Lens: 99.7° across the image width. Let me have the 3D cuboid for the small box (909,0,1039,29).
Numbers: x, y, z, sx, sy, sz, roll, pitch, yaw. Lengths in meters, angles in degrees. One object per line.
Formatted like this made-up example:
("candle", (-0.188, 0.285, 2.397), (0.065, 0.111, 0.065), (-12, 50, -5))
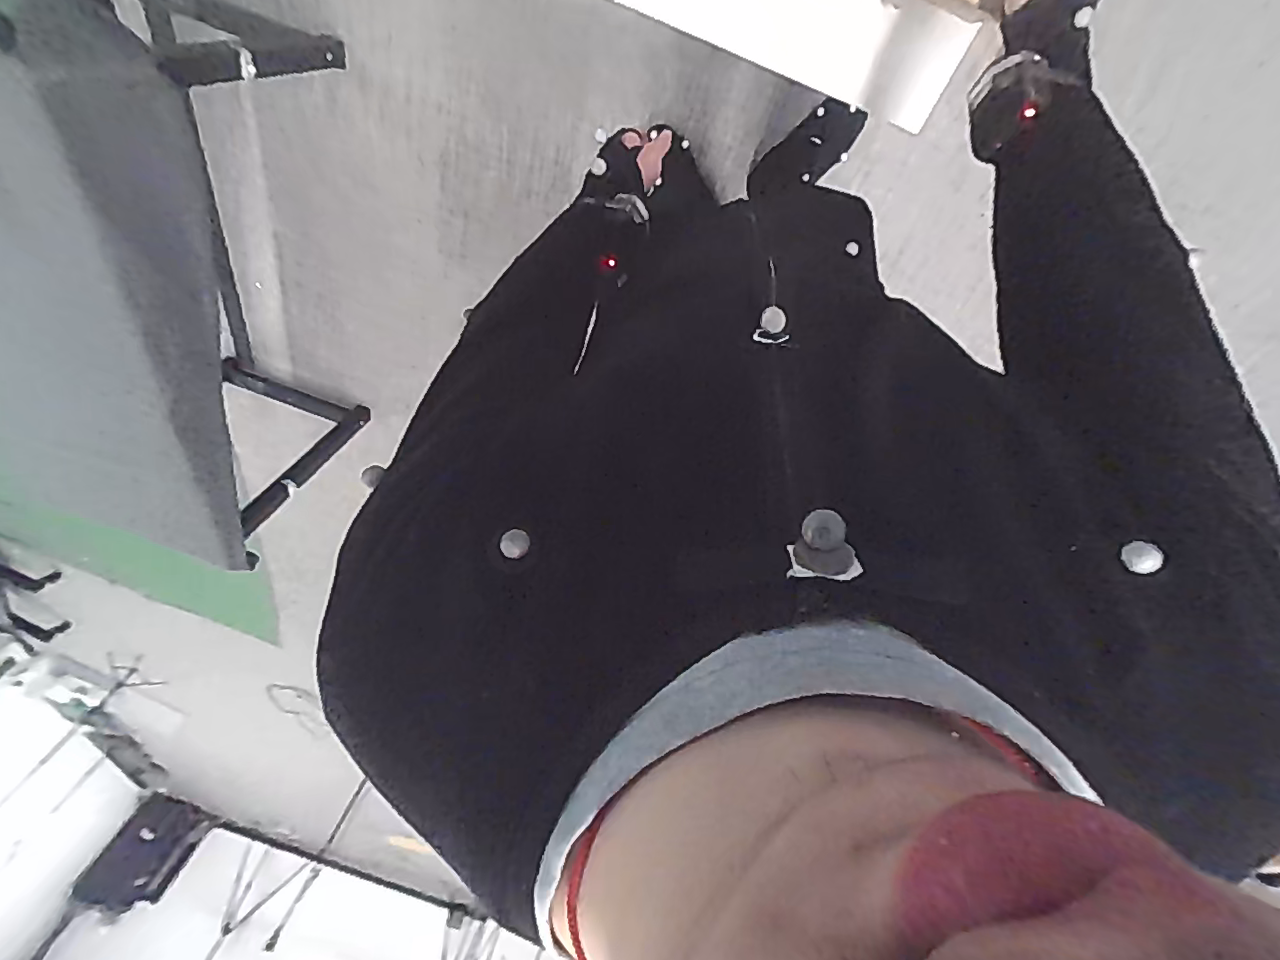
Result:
("small box", (0.305, -0.544, 0.487), (0.179, 0.176, 0.168), (21, 130, -5))
